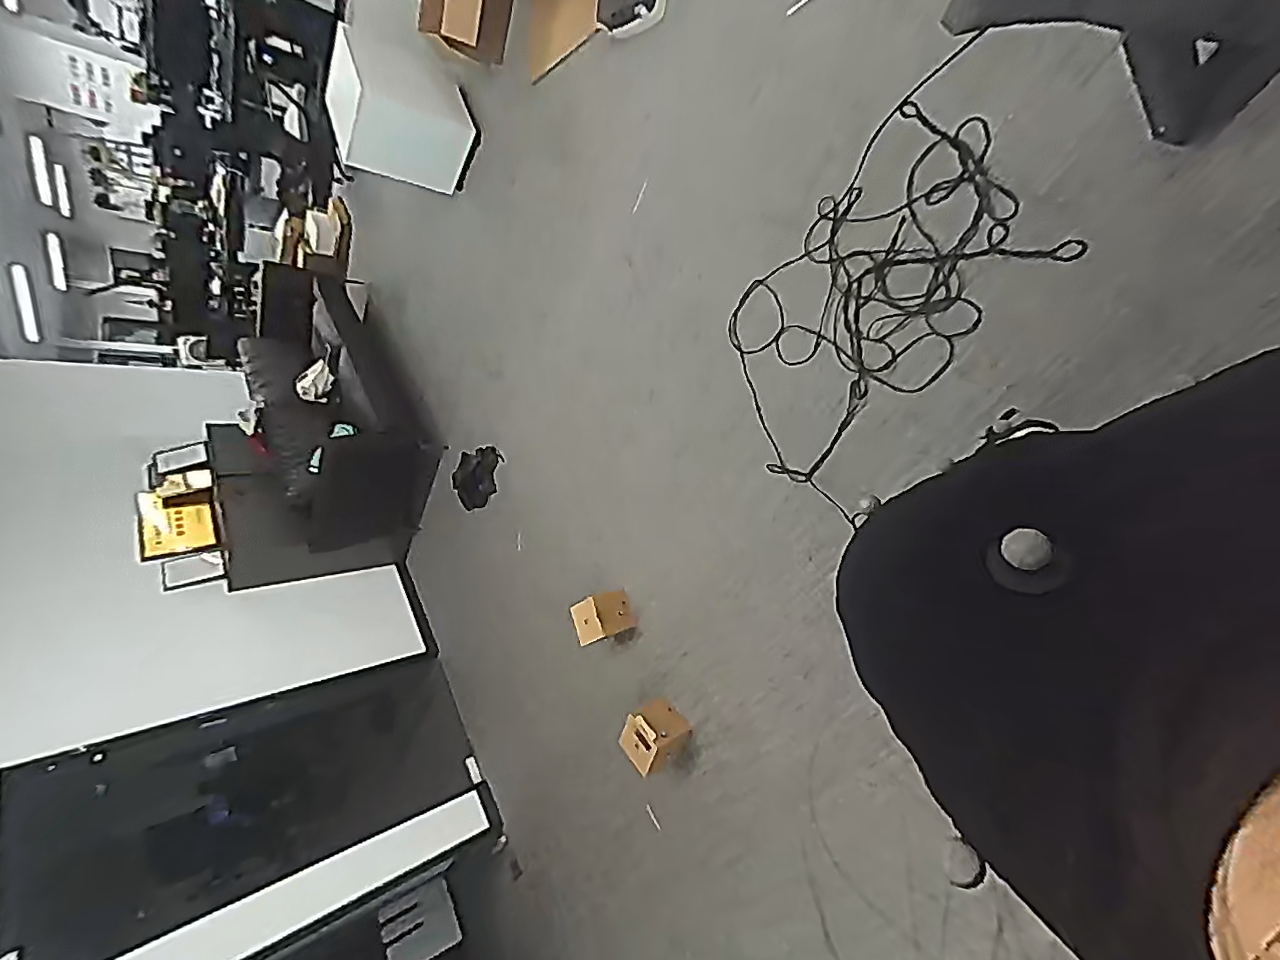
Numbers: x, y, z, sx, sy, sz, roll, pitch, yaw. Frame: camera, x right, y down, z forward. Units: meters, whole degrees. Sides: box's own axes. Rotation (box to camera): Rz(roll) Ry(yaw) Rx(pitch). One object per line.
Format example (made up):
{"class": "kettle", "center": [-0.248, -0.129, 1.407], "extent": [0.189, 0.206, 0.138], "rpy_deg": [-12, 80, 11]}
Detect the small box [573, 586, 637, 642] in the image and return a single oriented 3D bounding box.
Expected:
{"class": "small box", "center": [-0.142, 0.547, 2.208], "extent": [0.179, 0.176, 0.168], "rpy_deg": [-37, 66, 43]}
